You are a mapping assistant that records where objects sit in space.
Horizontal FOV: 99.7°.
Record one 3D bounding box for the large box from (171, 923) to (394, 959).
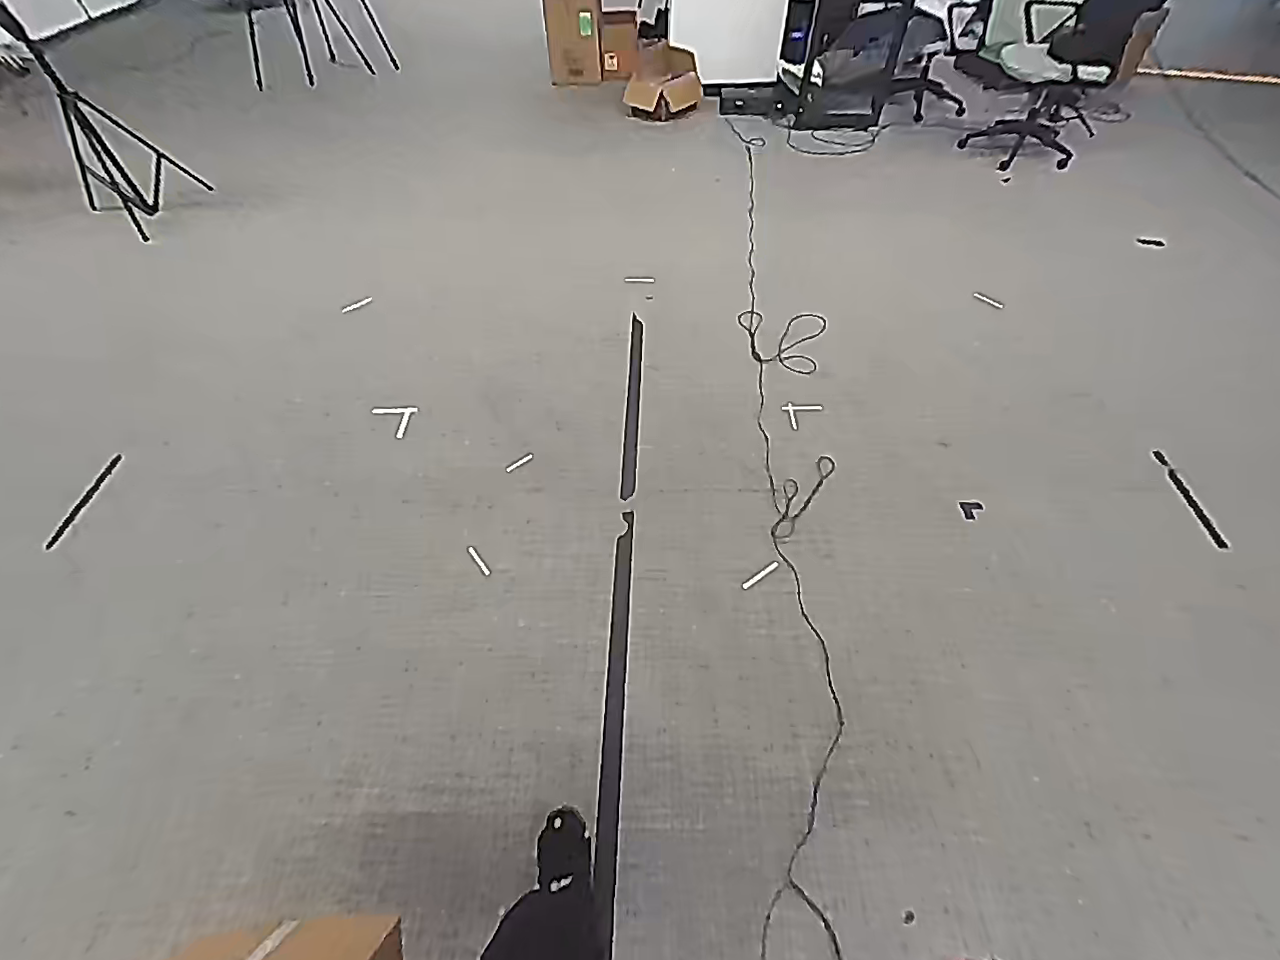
[{"bbox_3d":[-0.497,0.779,0.577,0.320,0.408,0.320,-8,81,2],"label":"large box"}]
